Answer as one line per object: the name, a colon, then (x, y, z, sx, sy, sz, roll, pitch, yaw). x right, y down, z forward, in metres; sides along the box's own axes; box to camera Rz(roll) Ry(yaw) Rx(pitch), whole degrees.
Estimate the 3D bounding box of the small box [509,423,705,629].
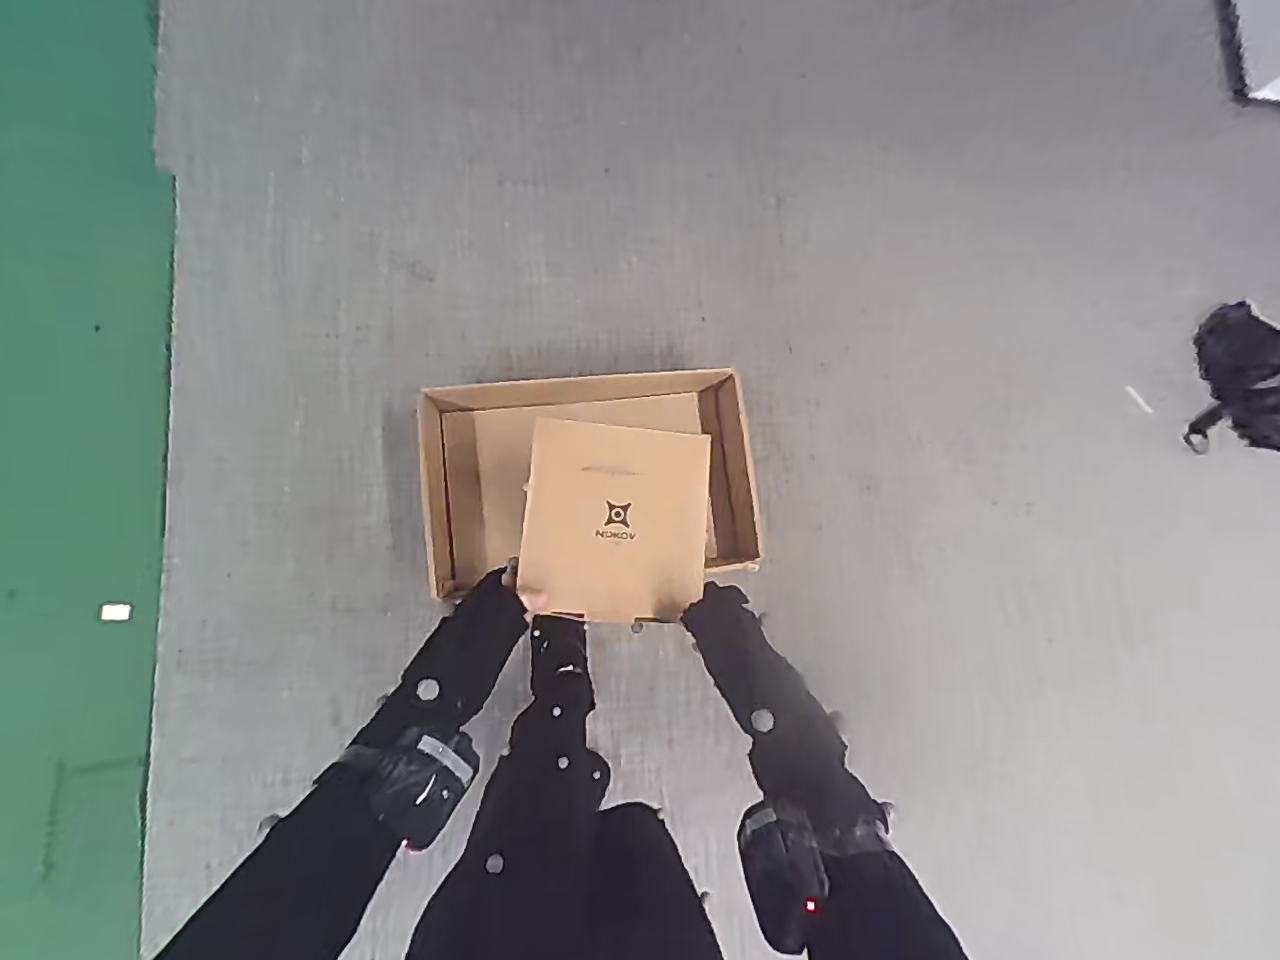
small box: (-0.037, 0.056, 0.569, 0.168, 0.176, 0.179, 7, 77, -8)
